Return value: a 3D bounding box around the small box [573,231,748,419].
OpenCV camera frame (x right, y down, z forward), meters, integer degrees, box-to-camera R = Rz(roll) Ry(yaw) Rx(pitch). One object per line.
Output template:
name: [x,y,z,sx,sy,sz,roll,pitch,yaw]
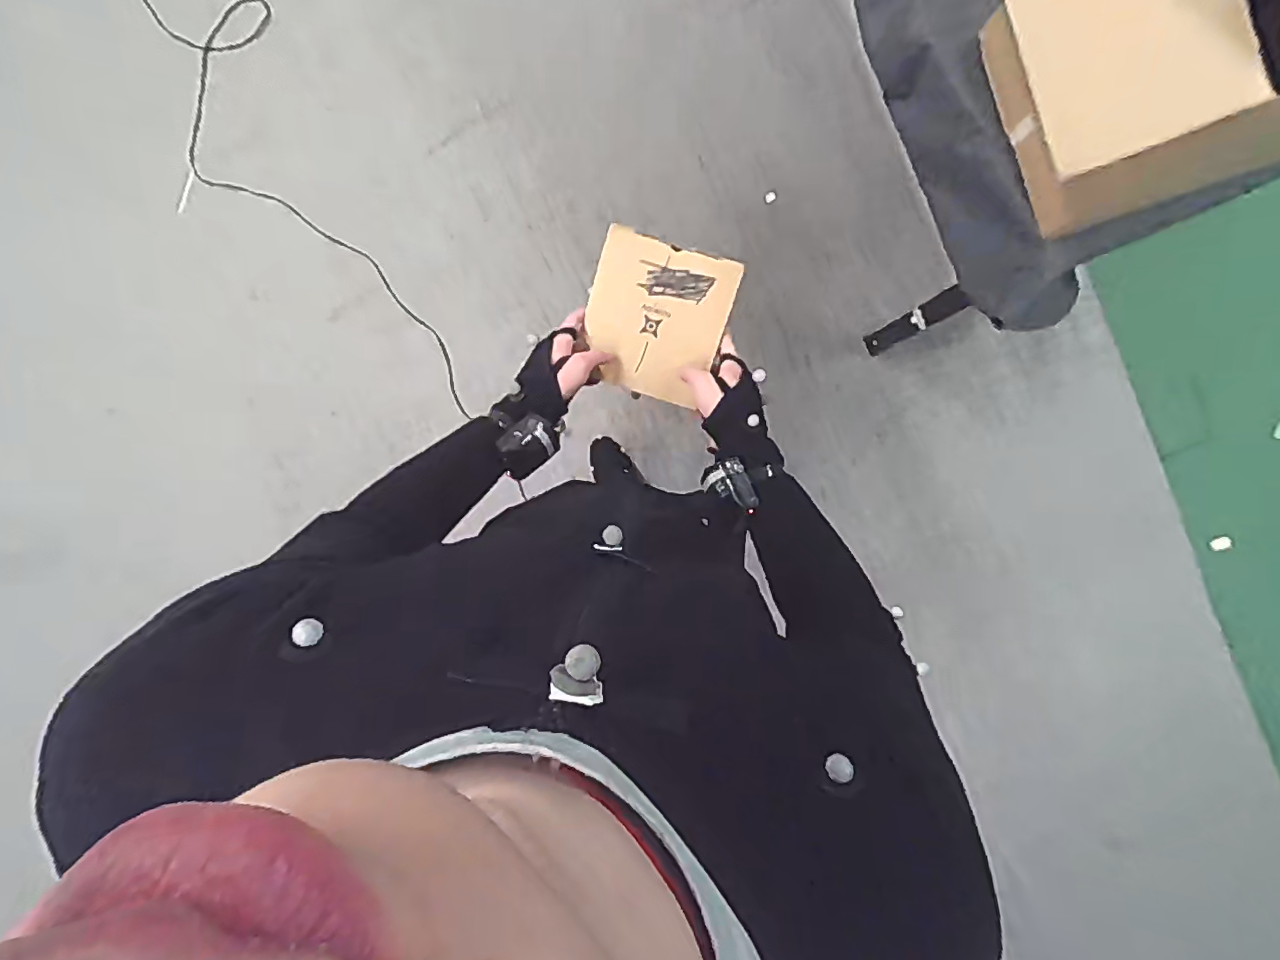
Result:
small box: [0.027,-0.196,0.708,0.168,0.176,0.179,18,105,2]
